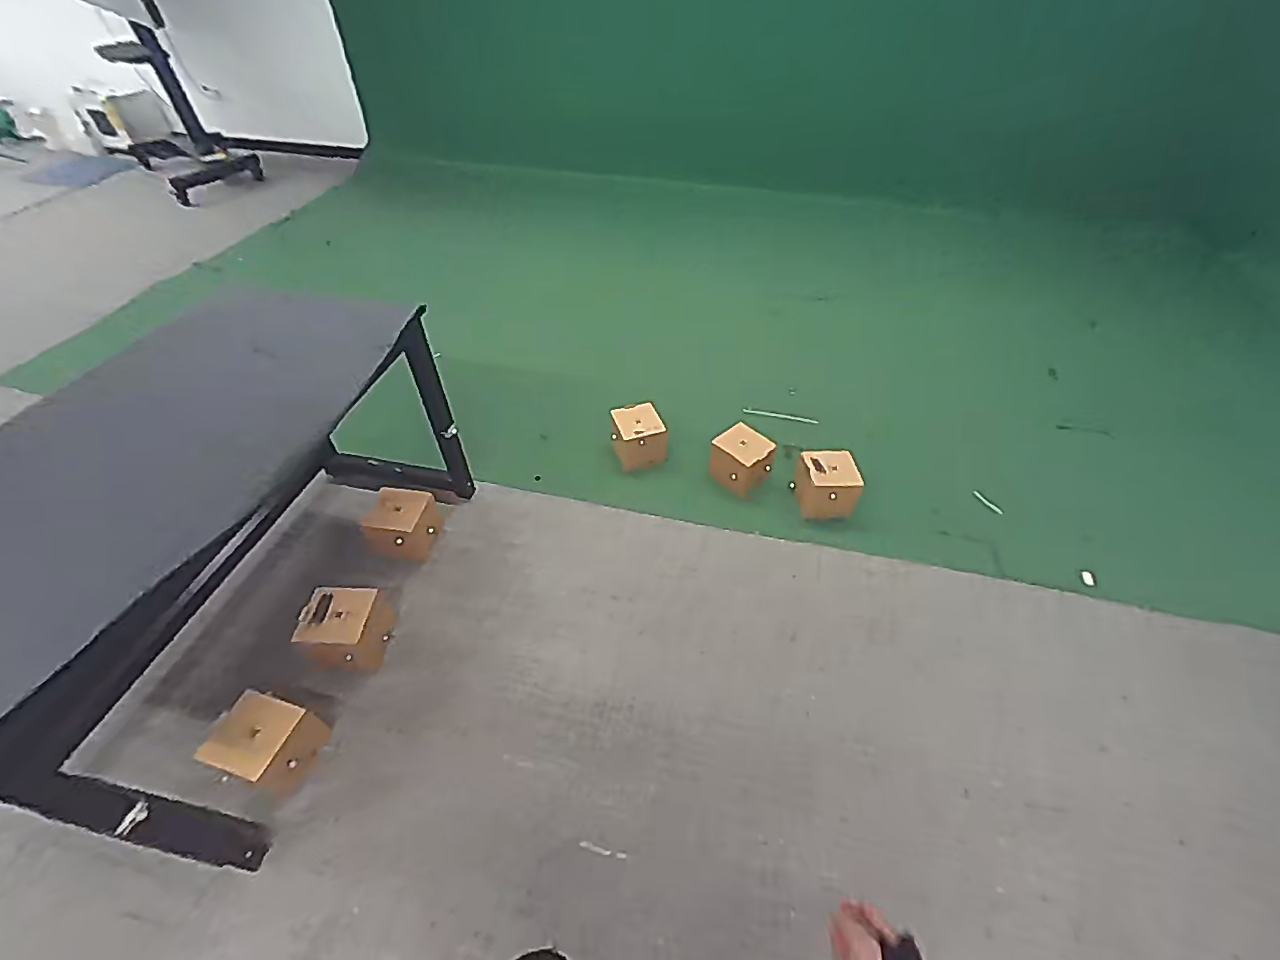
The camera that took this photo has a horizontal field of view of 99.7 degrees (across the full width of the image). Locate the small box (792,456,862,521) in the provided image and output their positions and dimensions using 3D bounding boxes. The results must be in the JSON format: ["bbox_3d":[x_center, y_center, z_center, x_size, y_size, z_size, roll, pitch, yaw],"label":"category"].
[{"bbox_3d":[0.646,0.032,1.902,0.179,0.176,0.168,-1,47,-4],"label":"small box"}]

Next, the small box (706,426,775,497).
[{"bbox_3d":[0.363,-0.060,1.979,0.168,0.176,0.179,-33,55,-29],"label":"small box"}]

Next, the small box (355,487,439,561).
[{"bbox_3d":[-0.773,0.146,1.747,0.179,0.176,0.168,7,47,4],"label":"small box"}]

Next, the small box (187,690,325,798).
[{"bbox_3d":[-0.904,0.636,1.294,0.179,0.176,0.168,13,48,11],"label":"small box"}]

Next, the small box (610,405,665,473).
[{"bbox_3d":[-0.015,-0.156,2.056,0.168,0.176,0.179,-14,48,-14],"label":"small box"}]
